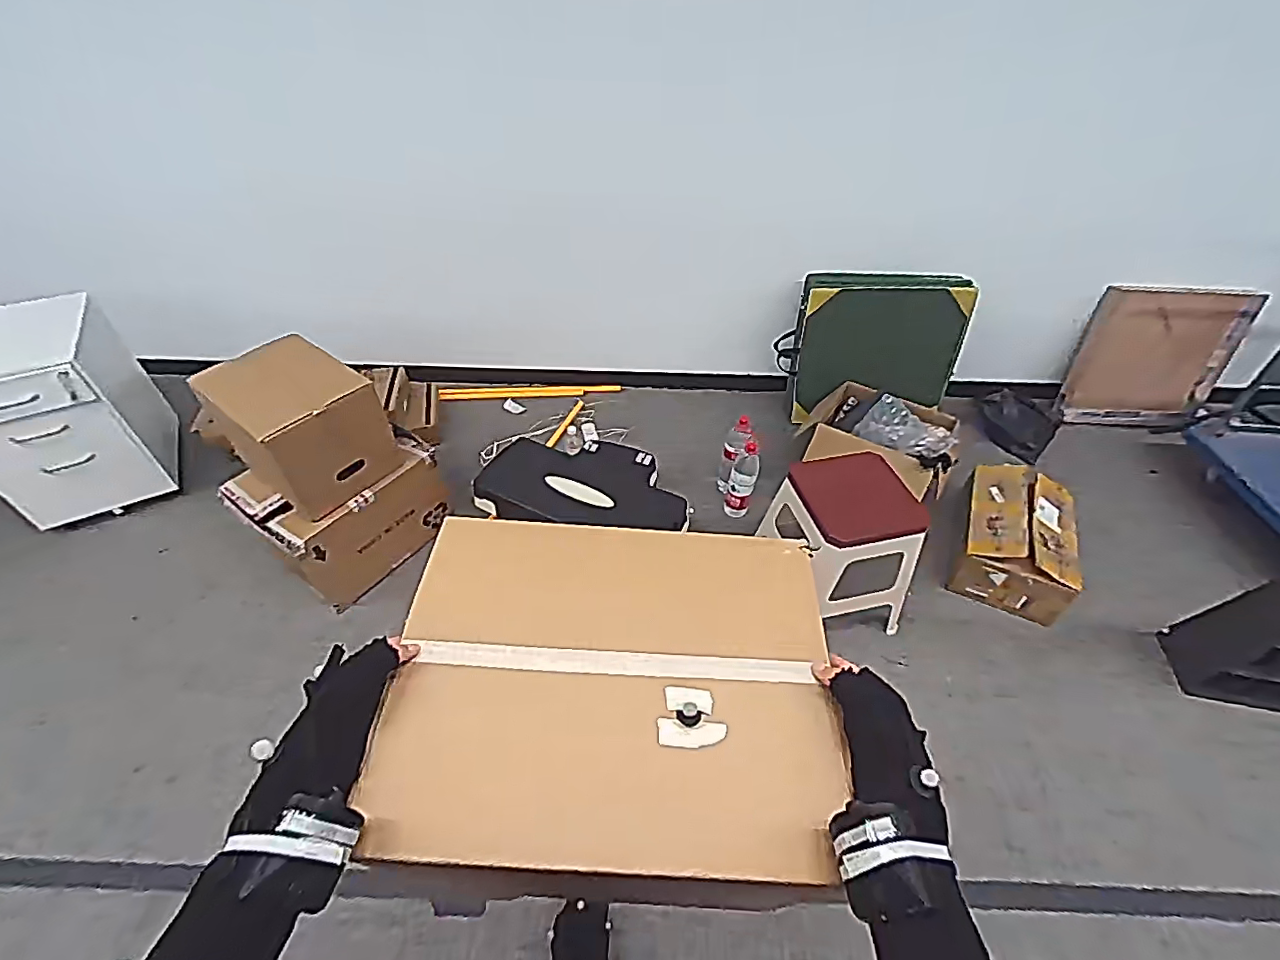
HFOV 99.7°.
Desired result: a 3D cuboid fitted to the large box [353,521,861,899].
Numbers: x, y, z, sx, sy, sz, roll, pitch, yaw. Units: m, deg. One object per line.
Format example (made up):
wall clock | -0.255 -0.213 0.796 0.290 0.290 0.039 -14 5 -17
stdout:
large box | -0.029 0.270 0.623 0.408 0.320 0.320 4 49 -1
